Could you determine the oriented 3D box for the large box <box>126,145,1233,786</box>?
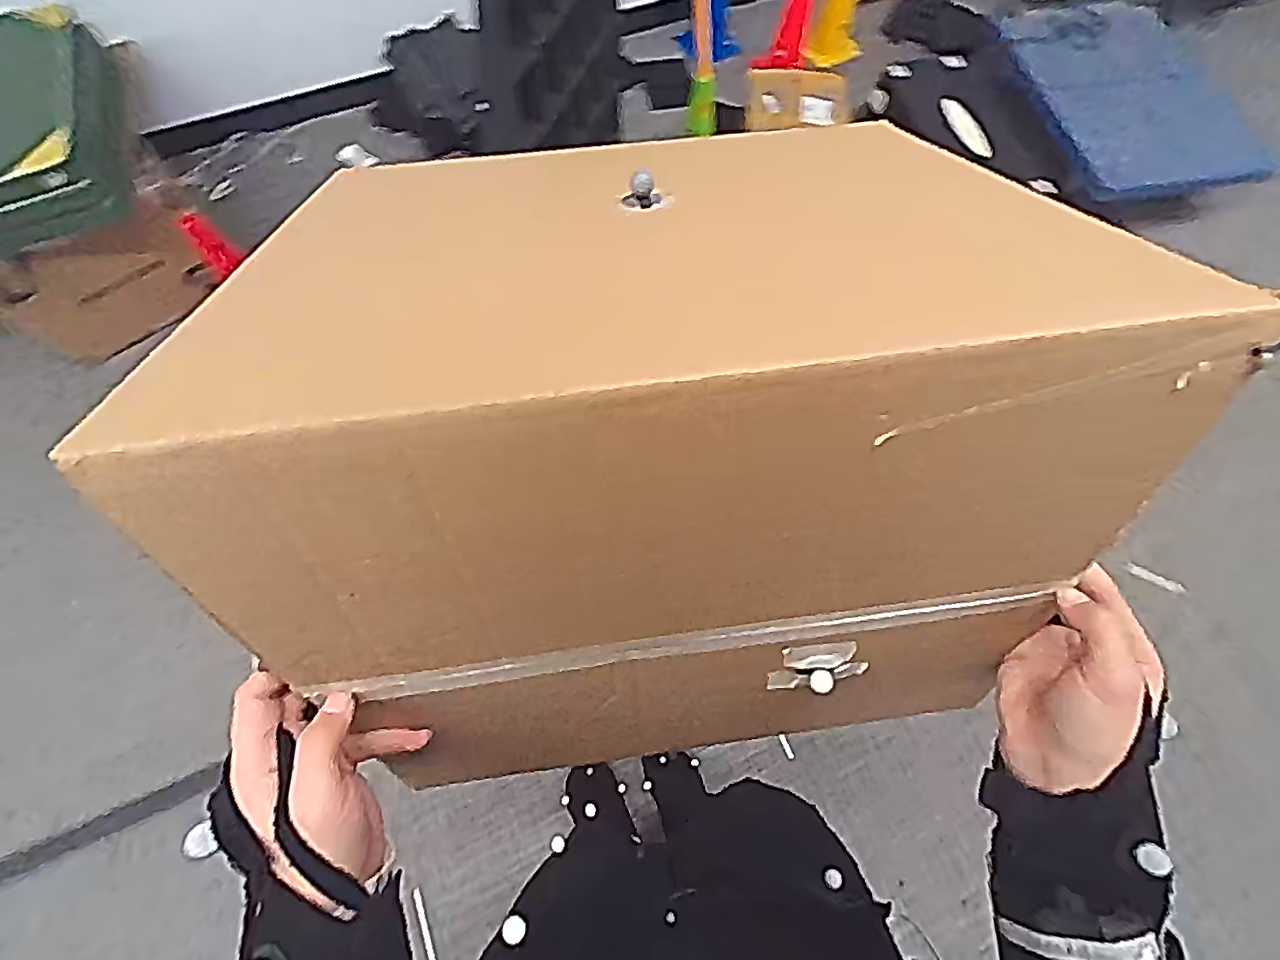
[{"bbox_3d":[0.011,-0.021,0.397,0.408,0.320,0.320,-8,45,-3],"label":"large box"}]
